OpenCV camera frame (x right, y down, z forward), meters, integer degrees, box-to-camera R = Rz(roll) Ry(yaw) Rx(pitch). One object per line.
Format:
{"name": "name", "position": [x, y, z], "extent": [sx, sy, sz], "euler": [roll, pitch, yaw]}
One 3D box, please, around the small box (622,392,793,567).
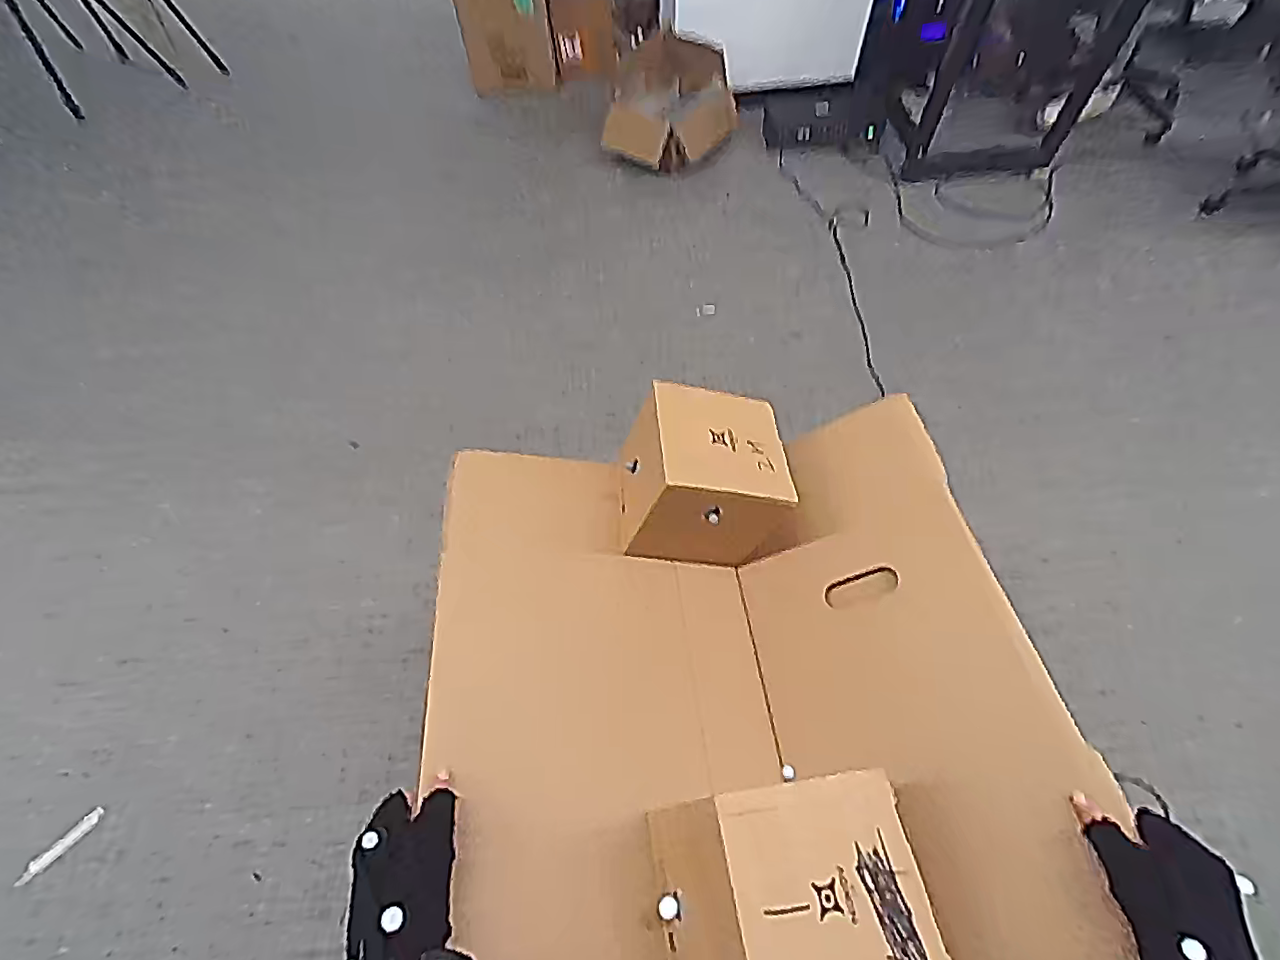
{"name": "small box", "position": [0.078, 0.008, 0.744], "extent": [0.179, 0.176, 0.168], "euler": [9, 53, -17]}

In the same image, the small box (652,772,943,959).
{"name": "small box", "position": [0.128, 0.376, 0.493], "extent": [0.179, 0.176, 0.168], "euler": [3, 55, -20]}
